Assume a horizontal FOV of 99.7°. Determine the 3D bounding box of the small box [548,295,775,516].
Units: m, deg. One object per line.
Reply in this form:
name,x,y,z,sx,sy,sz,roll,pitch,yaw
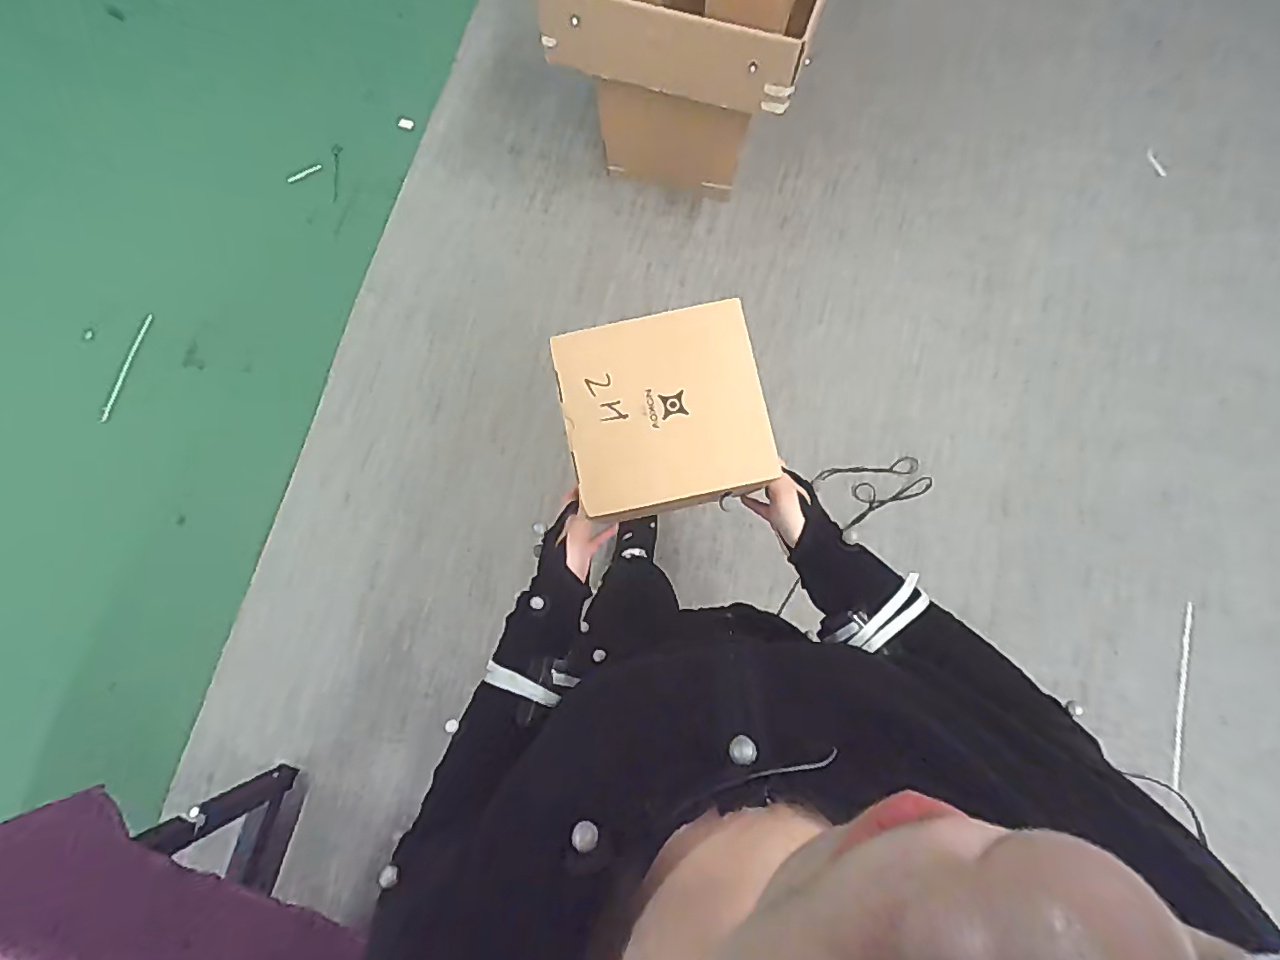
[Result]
small box,0.020,-0.061,0.549,0.179,0.176,0.168,-11,82,1
